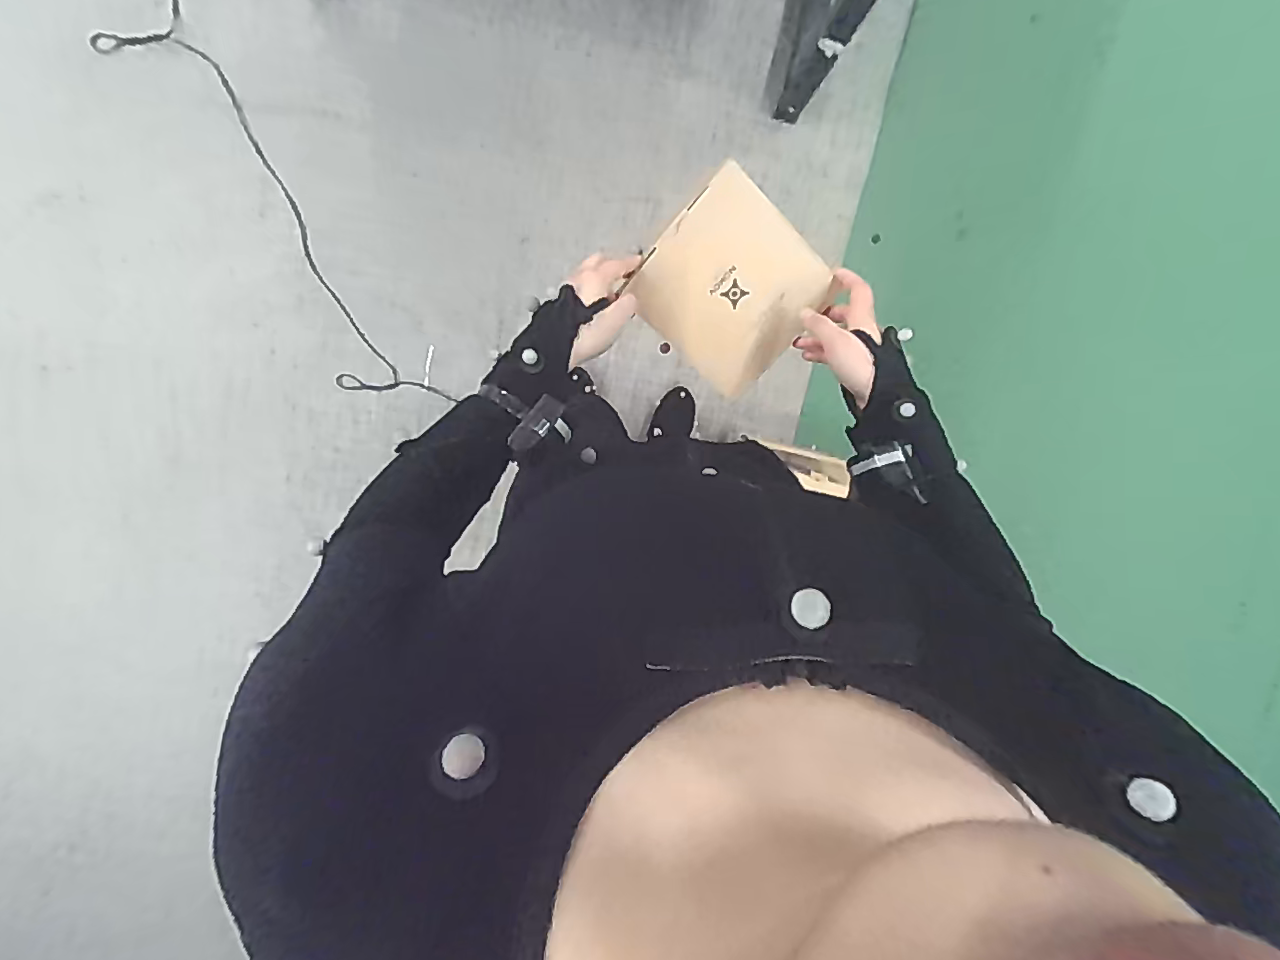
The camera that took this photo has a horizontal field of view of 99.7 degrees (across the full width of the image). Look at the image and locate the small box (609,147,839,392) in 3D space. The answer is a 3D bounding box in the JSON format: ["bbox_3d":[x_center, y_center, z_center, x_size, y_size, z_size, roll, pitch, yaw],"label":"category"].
[{"bbox_3d":[0.081,-0.232,0.614,0.179,0.176,0.168,37,108,-18],"label":"small box"}]
